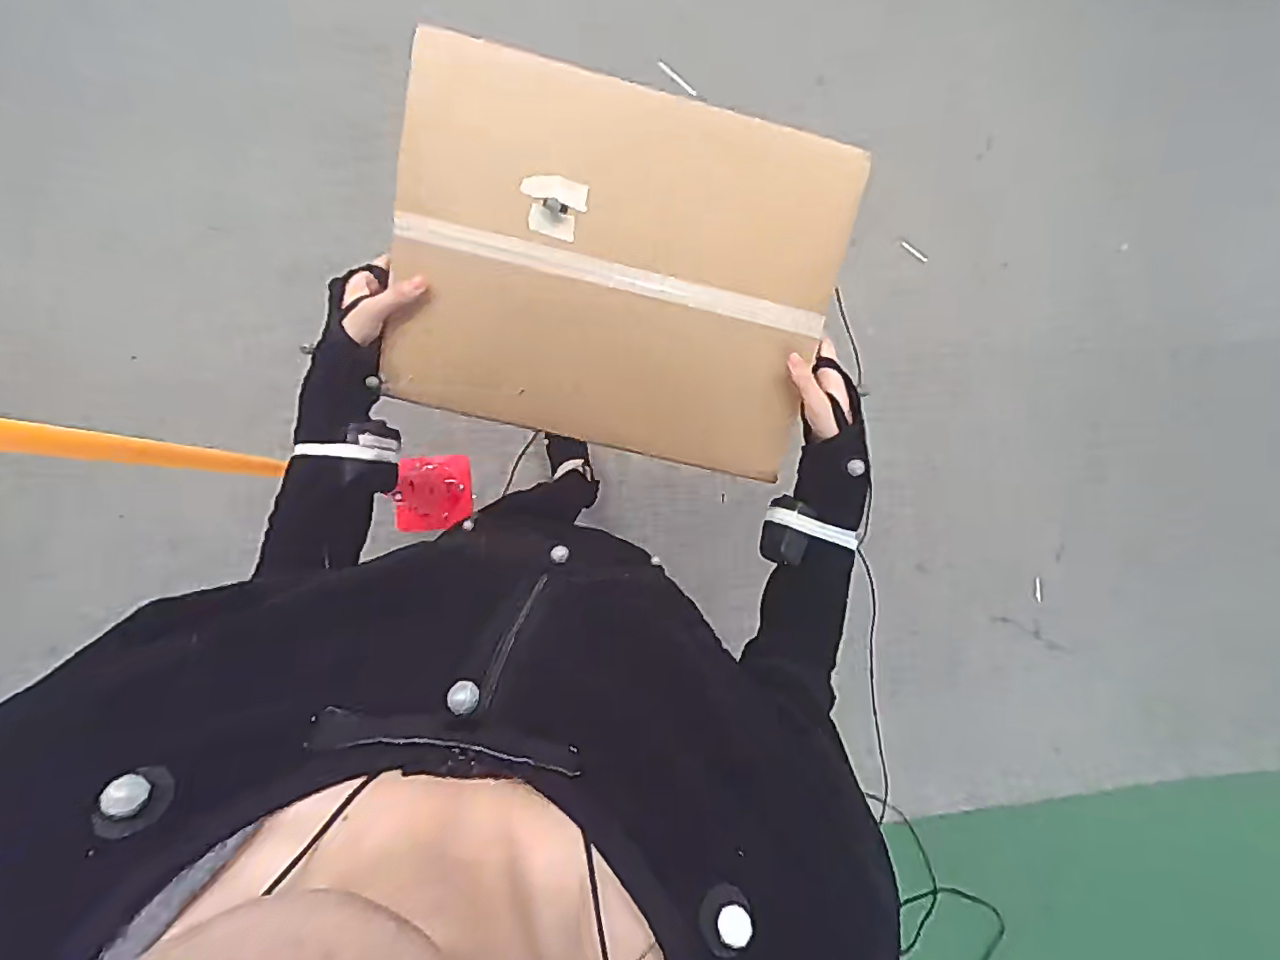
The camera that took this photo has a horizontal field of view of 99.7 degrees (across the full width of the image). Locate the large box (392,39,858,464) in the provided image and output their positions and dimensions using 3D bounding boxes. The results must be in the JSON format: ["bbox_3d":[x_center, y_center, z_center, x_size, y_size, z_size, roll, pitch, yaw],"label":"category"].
[{"bbox_3d":[-0.025,-0.237,0.660,0.408,0.320,0.320,13,104,-5],"label":"large box"}]
